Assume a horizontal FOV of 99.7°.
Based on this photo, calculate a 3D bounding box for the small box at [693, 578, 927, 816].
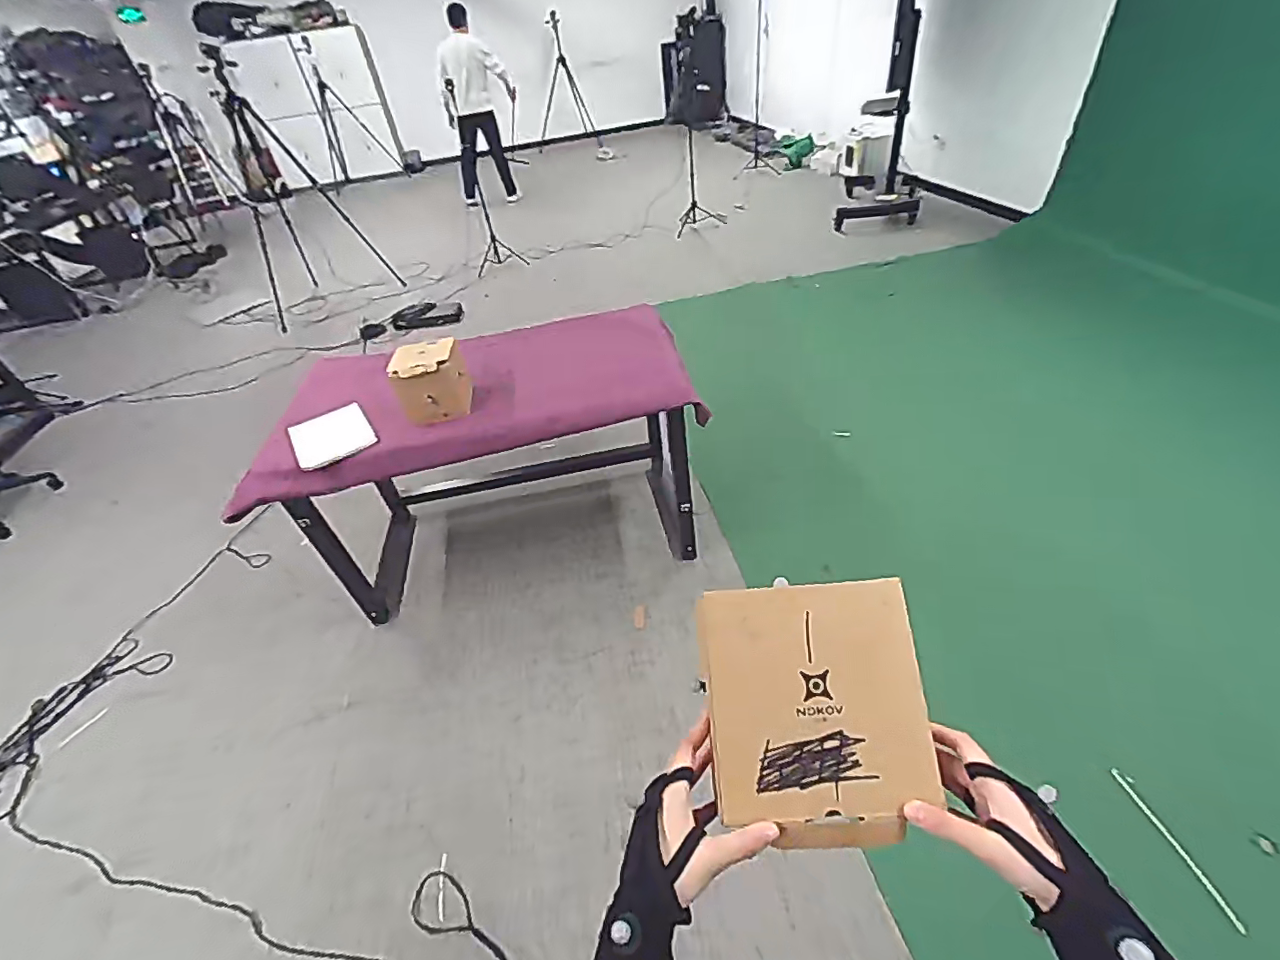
[{"bbox_3d":[0.138,0.190,0.507,0.168,0.176,0.179,-4,73,3],"label":"small box"}]

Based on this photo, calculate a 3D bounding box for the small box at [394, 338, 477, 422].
[{"bbox_3d":[-0.574,-0.279,1.542,0.168,0.176,0.179,-11,41,-3],"label":"small box"}]
